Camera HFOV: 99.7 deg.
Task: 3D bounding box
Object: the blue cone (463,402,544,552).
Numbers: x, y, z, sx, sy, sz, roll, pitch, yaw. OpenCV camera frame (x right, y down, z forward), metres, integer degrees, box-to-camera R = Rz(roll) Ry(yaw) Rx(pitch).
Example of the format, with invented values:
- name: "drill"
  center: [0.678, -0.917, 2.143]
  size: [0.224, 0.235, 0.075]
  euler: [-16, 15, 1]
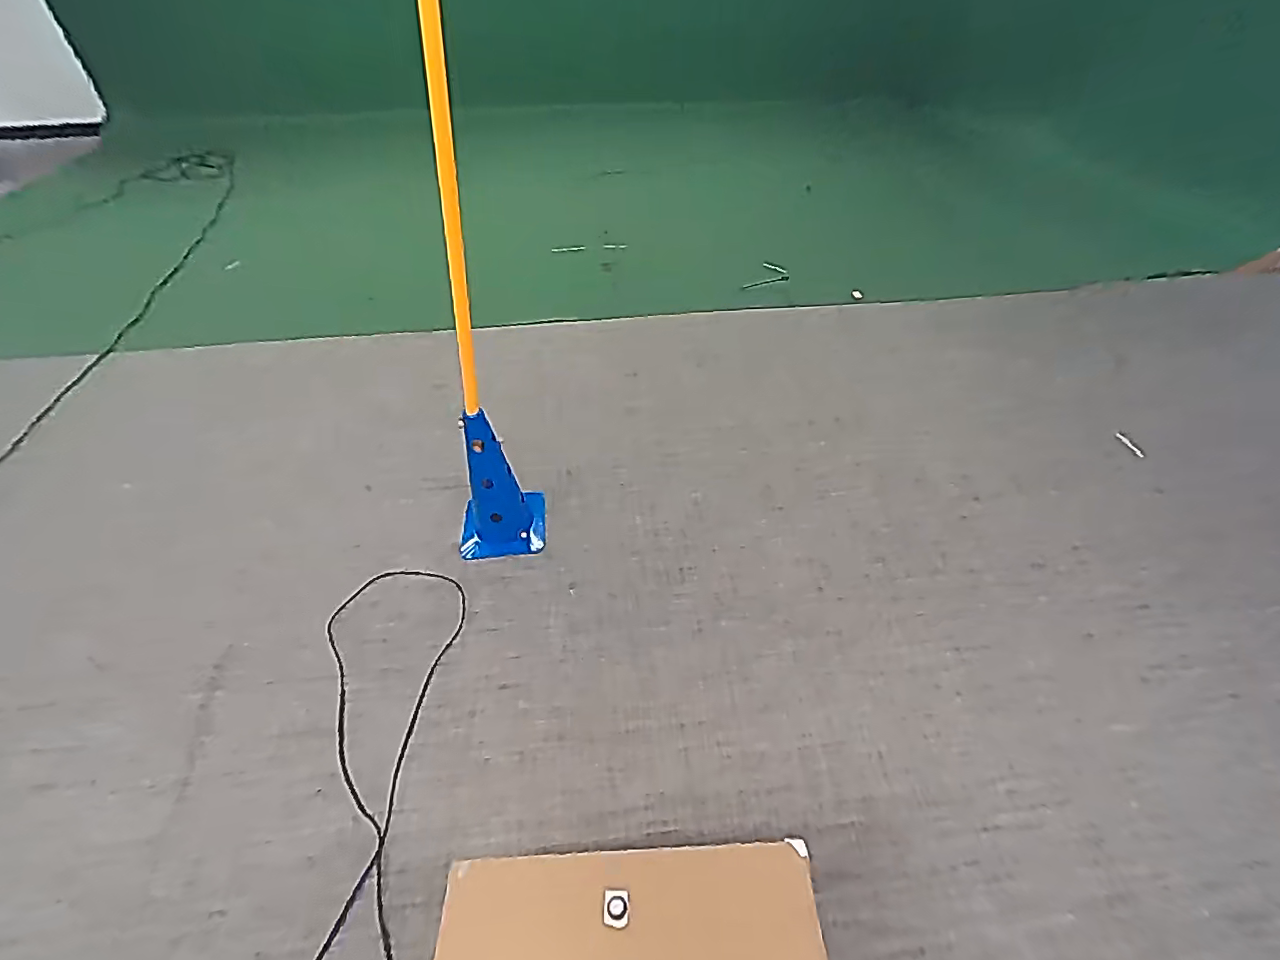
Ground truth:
- name: "blue cone"
  center: [-0.333, -0.021, 1.215]
  size: [0.193, 0.380, 0.192]
  euler: [-5, 46, -7]
